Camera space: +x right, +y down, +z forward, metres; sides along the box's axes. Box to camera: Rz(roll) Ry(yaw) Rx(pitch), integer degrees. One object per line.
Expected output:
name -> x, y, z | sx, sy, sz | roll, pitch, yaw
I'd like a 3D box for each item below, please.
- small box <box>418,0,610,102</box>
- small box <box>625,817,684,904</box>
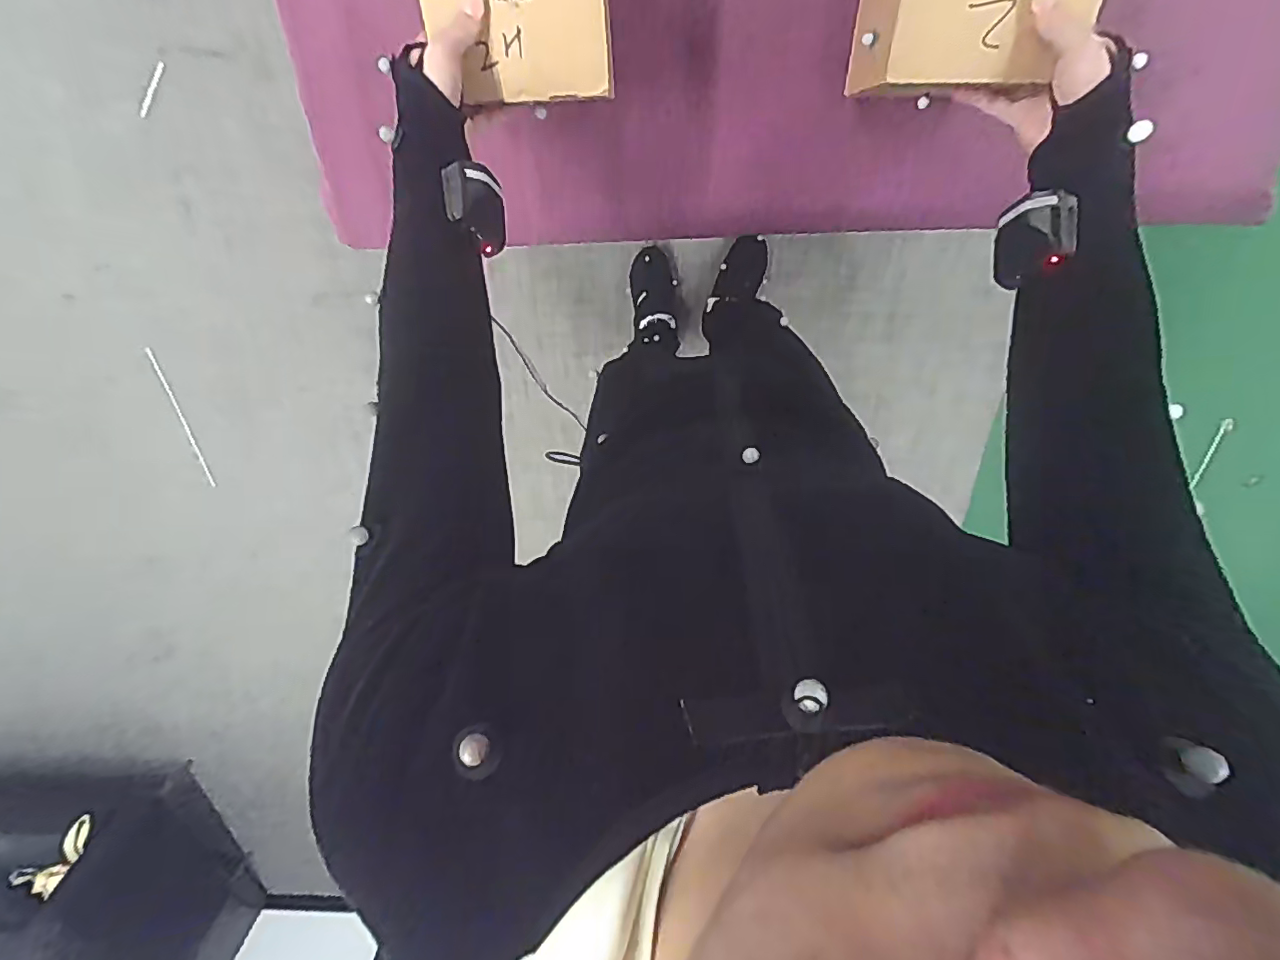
small box -> -0.120, -0.490, 0.541 | 0.168, 0.176, 0.179 | -2, 125, 2
small box -> 0.047, 1.230, 1.754 | 0.168, 0.176, 0.179 | 8, 120, 1
